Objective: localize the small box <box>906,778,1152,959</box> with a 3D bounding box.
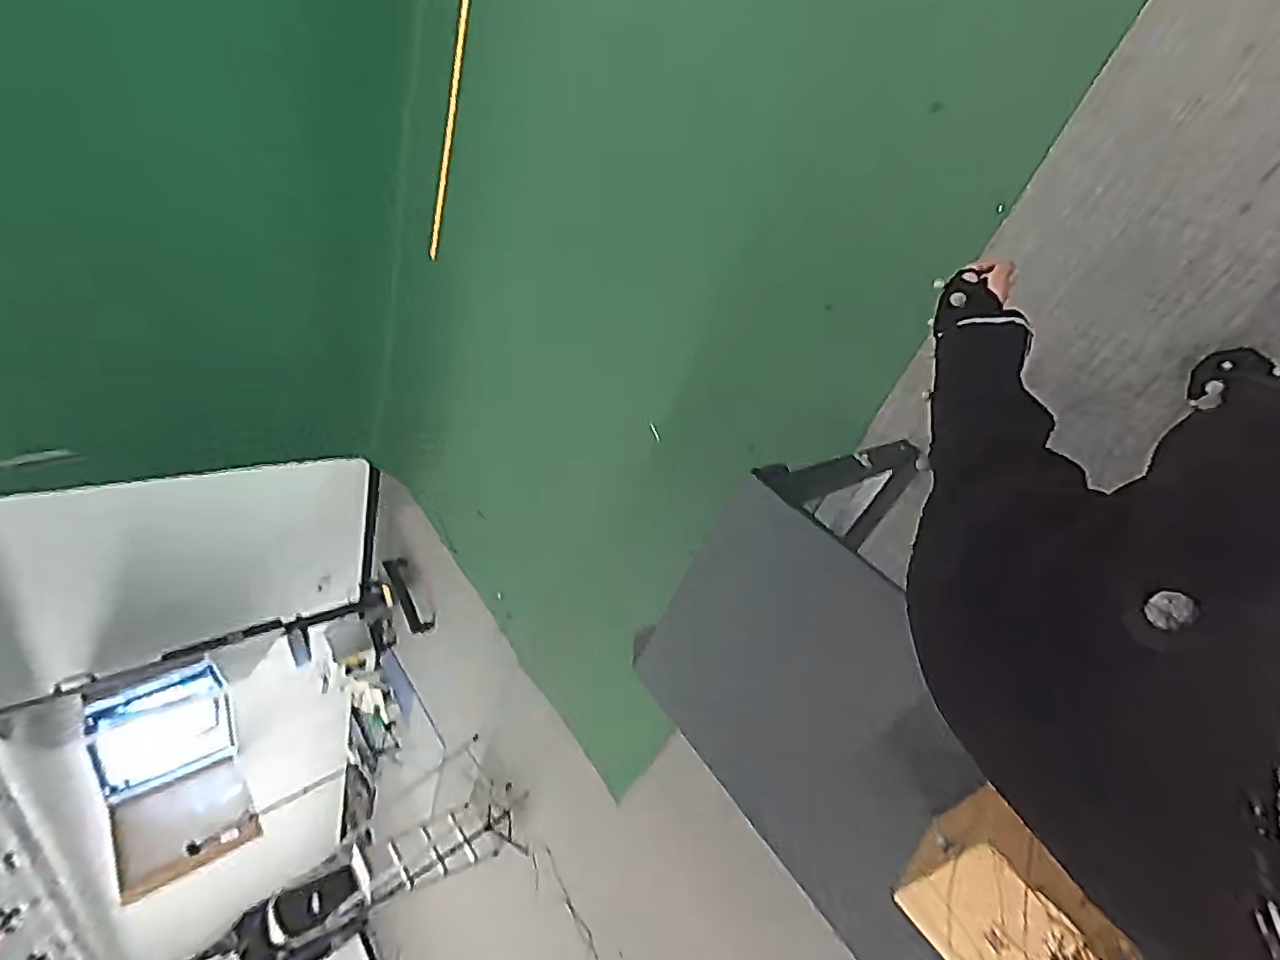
[{"bbox_3d":[0.471,0.511,0.656,0.168,0.176,0.179,44,126,29],"label":"small box"}]
